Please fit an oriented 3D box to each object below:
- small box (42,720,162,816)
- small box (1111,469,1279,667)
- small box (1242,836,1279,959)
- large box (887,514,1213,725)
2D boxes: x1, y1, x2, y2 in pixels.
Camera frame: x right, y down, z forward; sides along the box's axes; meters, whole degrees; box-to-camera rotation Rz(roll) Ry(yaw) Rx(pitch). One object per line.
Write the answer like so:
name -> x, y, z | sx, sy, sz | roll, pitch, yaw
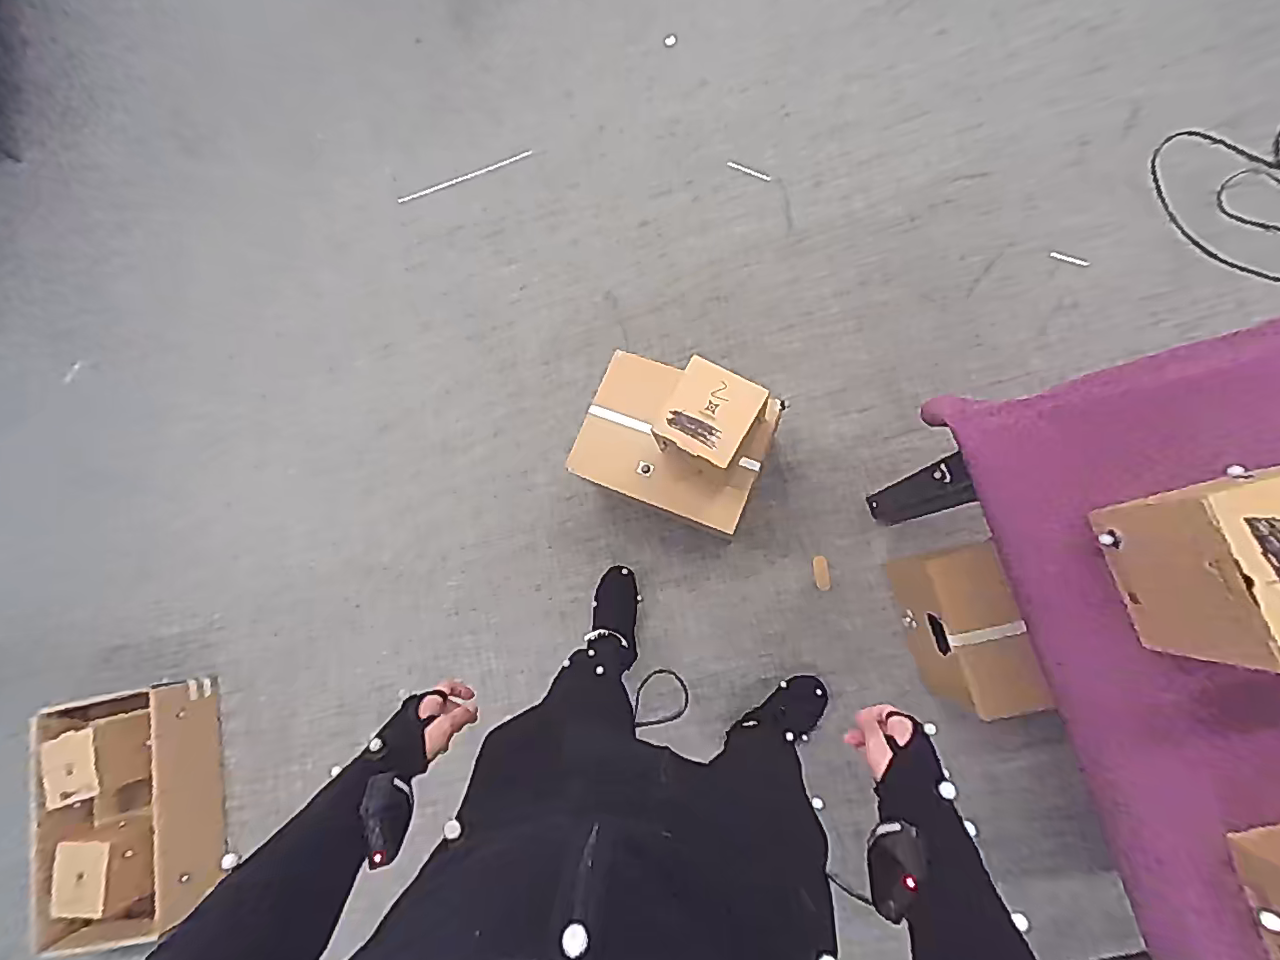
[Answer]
small box -> -1.480, 0.783, 1.494 | 0.168, 0.176, 0.179 | -19, 78, 6
small box -> 0.629, 0.081, 0.540 | 0.179, 0.176, 0.168 | -16, 79, 5
small box -> 0.717, 0.426, 0.468 | 0.179, 0.176, 0.168 | -14, 78, 7
large box -> 0.817, 0.283, 1.156 | 0.408, 0.320, 0.320 | -16, 79, 6
